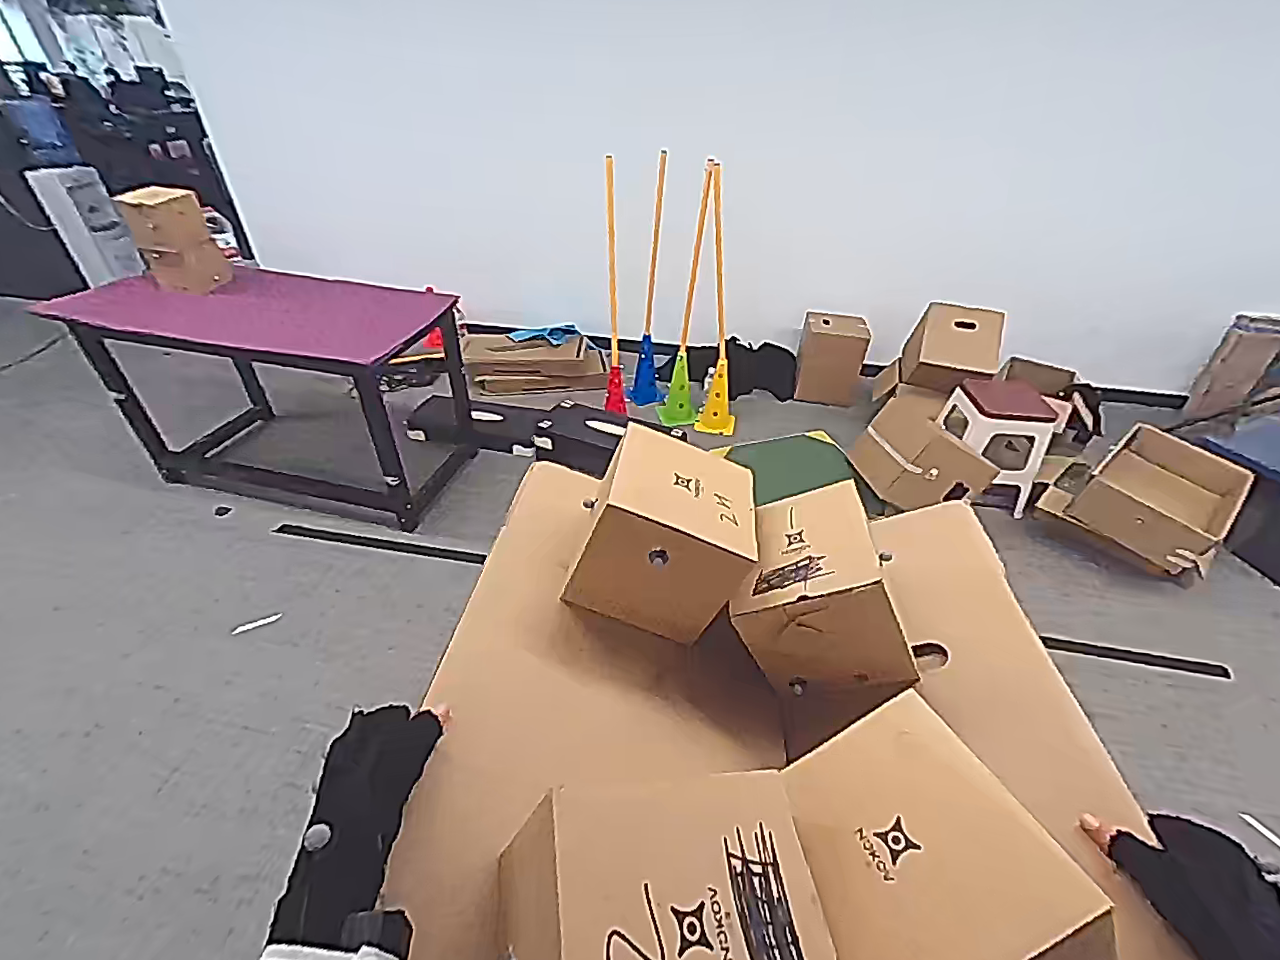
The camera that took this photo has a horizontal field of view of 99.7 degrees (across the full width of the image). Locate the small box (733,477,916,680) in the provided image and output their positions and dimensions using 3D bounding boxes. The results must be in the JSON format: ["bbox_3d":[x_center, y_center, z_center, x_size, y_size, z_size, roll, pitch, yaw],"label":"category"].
[{"bbox_3d":[0.226,0.131,0.679,0.168,0.176,0.179,-19,30,23],"label":"small box"}]
